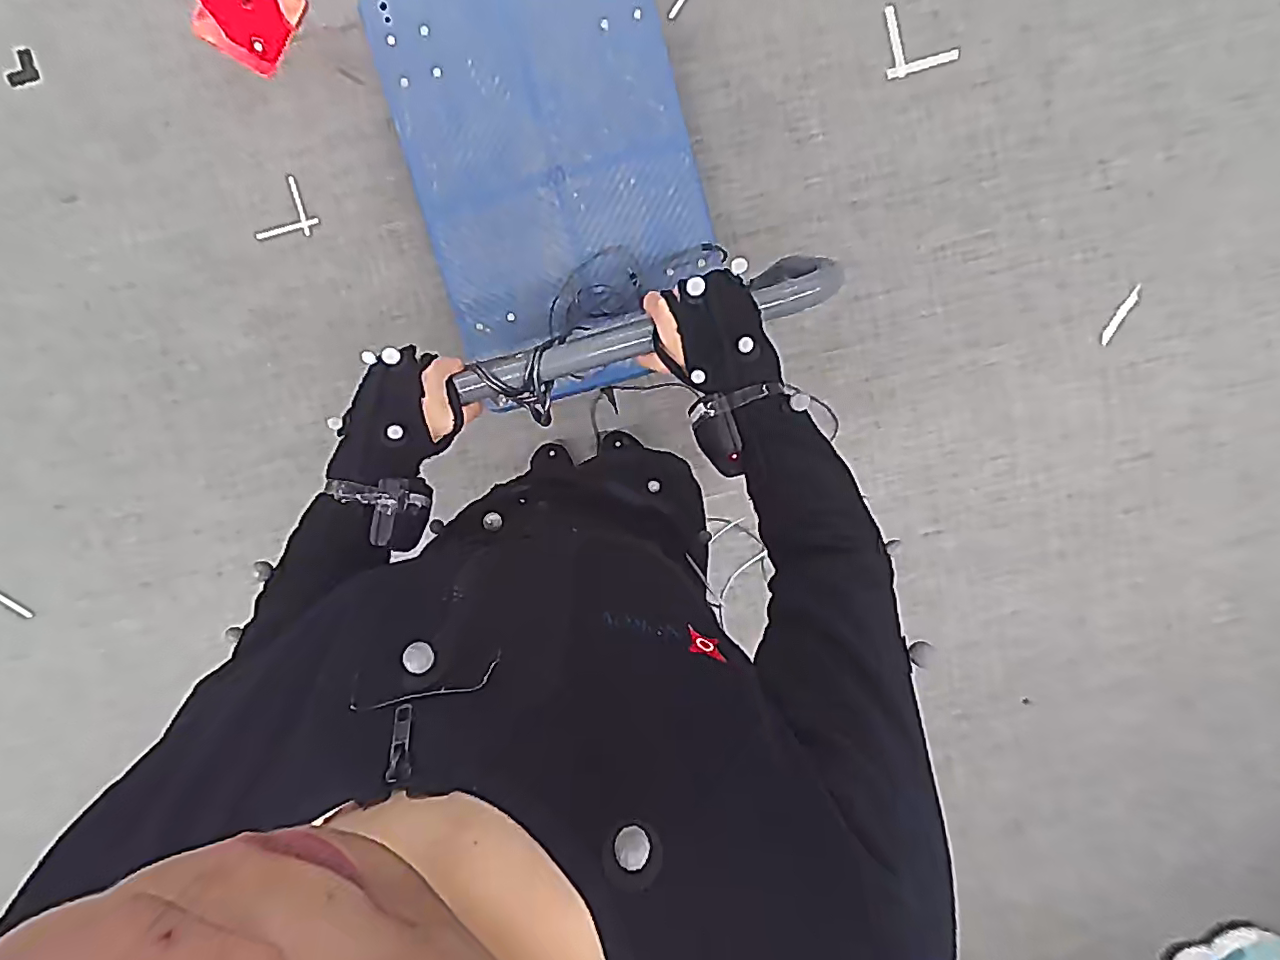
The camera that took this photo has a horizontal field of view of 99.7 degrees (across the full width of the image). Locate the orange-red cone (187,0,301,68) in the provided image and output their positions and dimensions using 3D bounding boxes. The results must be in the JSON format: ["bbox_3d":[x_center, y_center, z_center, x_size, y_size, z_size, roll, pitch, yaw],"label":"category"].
[{"bbox_3d":[-0.873,-1.035,1.035,0.198,0.360,0.199,32,94,-6],"label":"orange-red cone"}]
